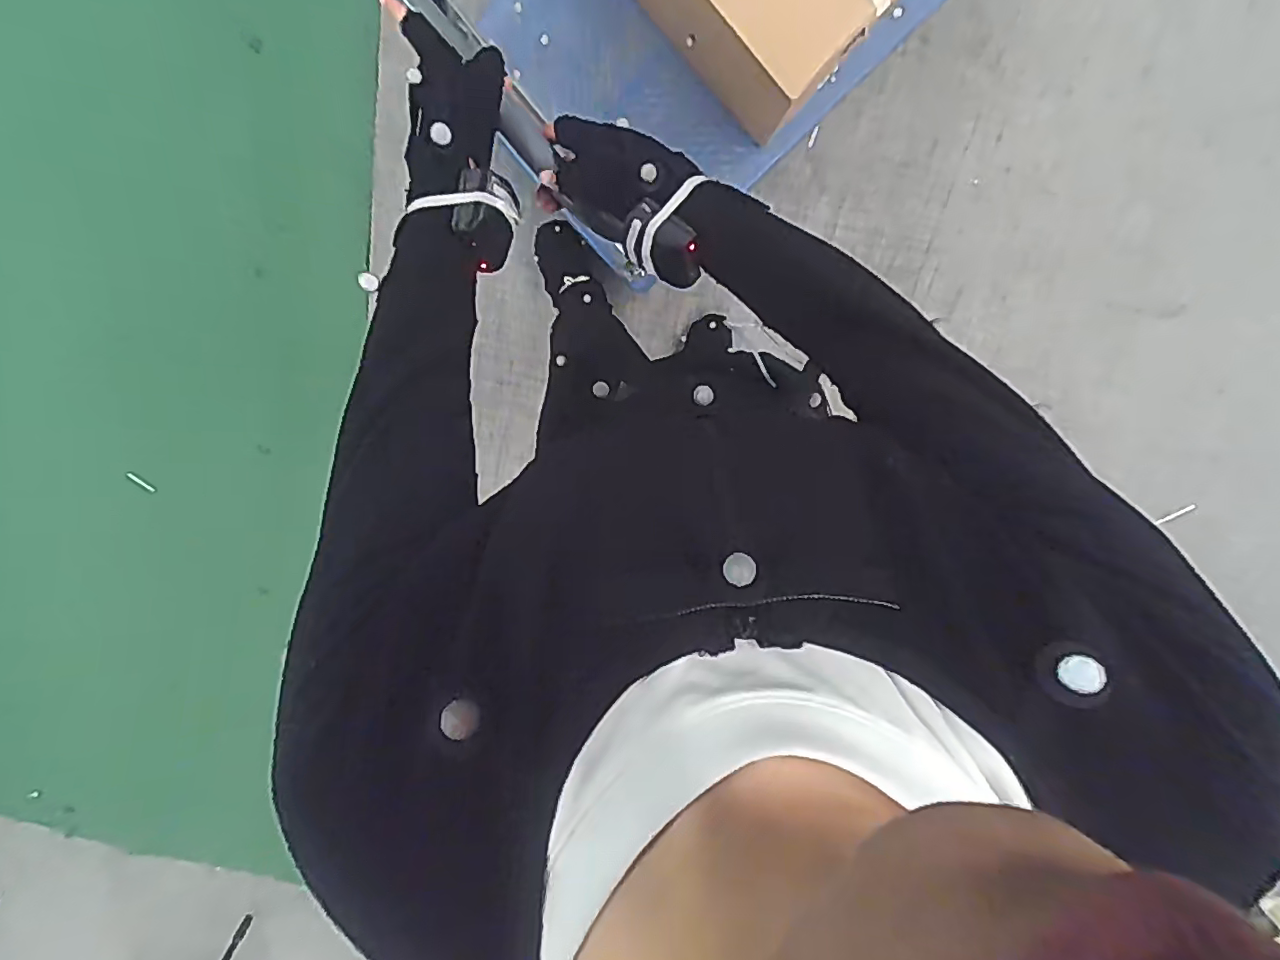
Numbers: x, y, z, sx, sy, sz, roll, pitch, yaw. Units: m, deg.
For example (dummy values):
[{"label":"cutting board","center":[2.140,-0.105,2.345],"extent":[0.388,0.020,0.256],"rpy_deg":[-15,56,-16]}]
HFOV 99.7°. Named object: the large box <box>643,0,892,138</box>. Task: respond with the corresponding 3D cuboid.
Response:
[{"label":"large box","center":[0.200,-0.850,0.857],"extent":[0.408,0.320,0.320],"rpy_deg":[43,109,-10]}]
